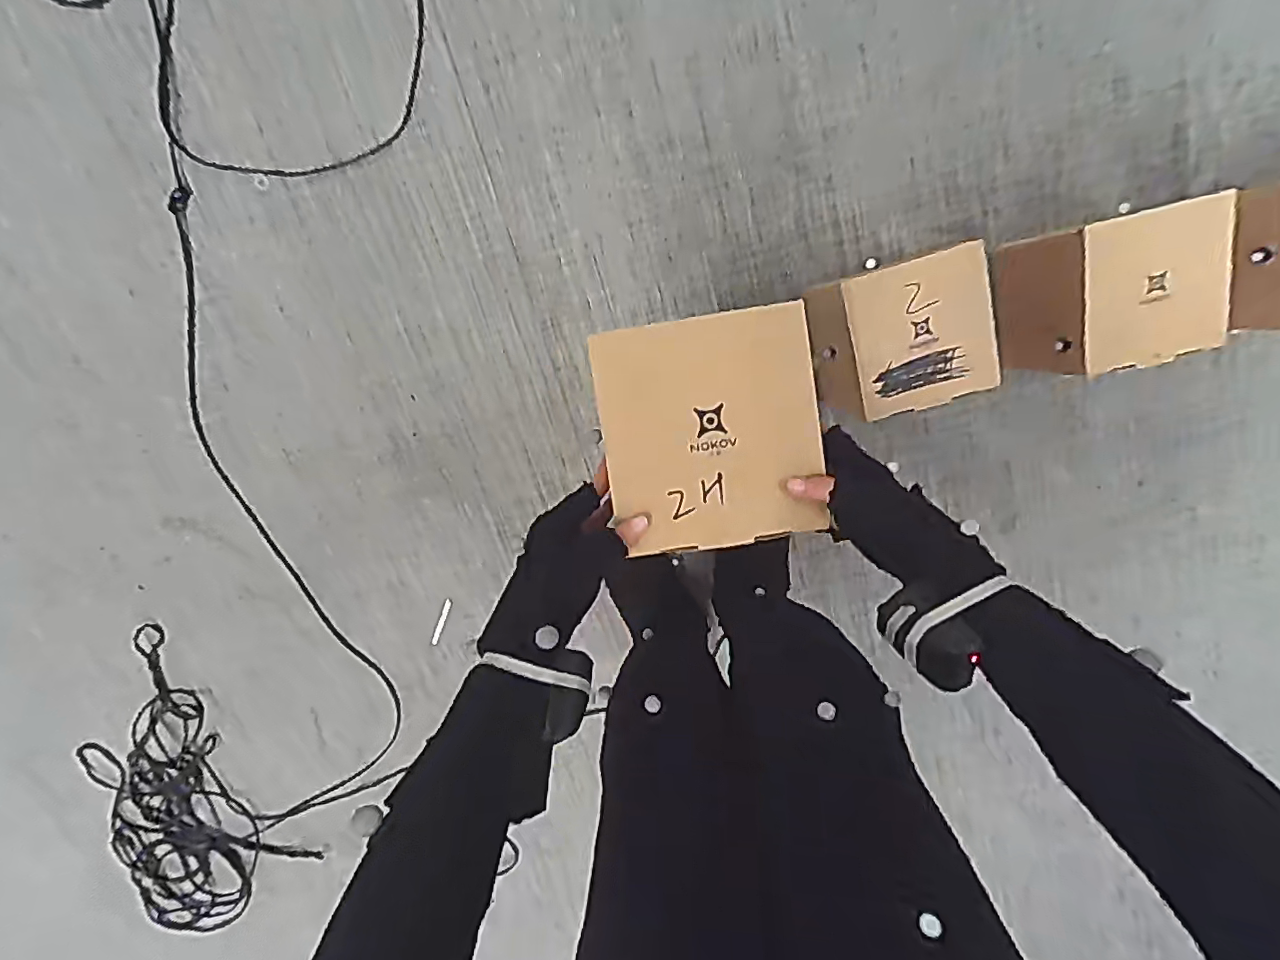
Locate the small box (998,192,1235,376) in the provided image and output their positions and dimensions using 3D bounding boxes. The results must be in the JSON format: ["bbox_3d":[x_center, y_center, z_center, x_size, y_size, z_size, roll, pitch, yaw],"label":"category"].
[{"bbox_3d":[0.597,-0.243,0.702,0.168,0.176,0.179,-13,106,4],"label":"small box"}]

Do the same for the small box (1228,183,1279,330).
[{"bbox_3d":[0.861,-0.293,0.683,0.168,0.176,0.179,-13,105,5],"label":"small box"}]
